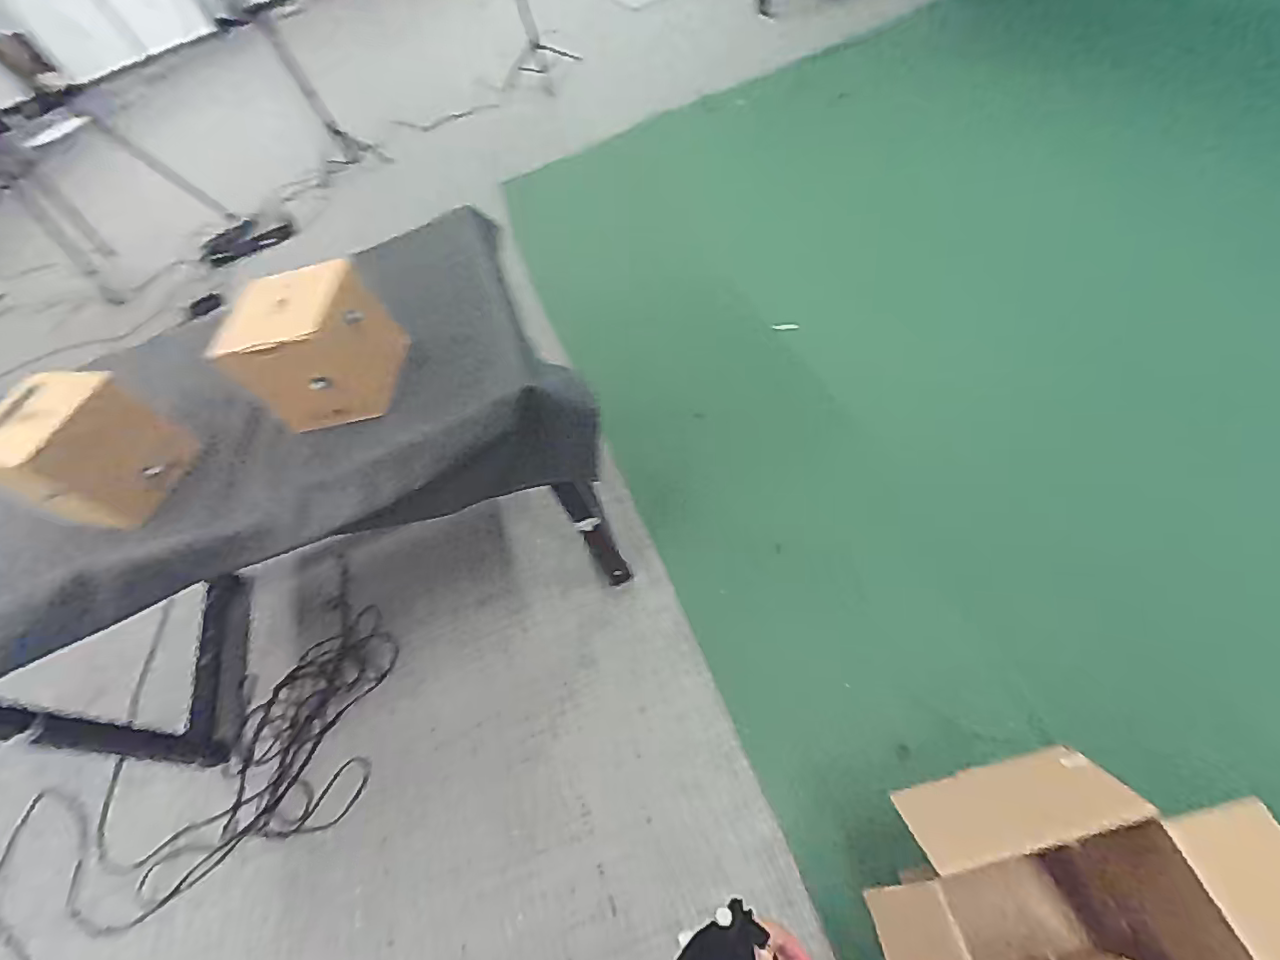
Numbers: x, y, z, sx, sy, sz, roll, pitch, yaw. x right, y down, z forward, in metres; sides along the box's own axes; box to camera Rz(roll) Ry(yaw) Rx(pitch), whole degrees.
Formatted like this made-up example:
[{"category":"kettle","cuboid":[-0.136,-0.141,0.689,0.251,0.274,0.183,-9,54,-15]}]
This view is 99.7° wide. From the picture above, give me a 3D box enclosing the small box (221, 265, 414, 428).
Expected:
[{"category":"small box","cuboid":[-0.480,-0.196,0.839,0.168,0.176,0.179,-8,52,9]}]
